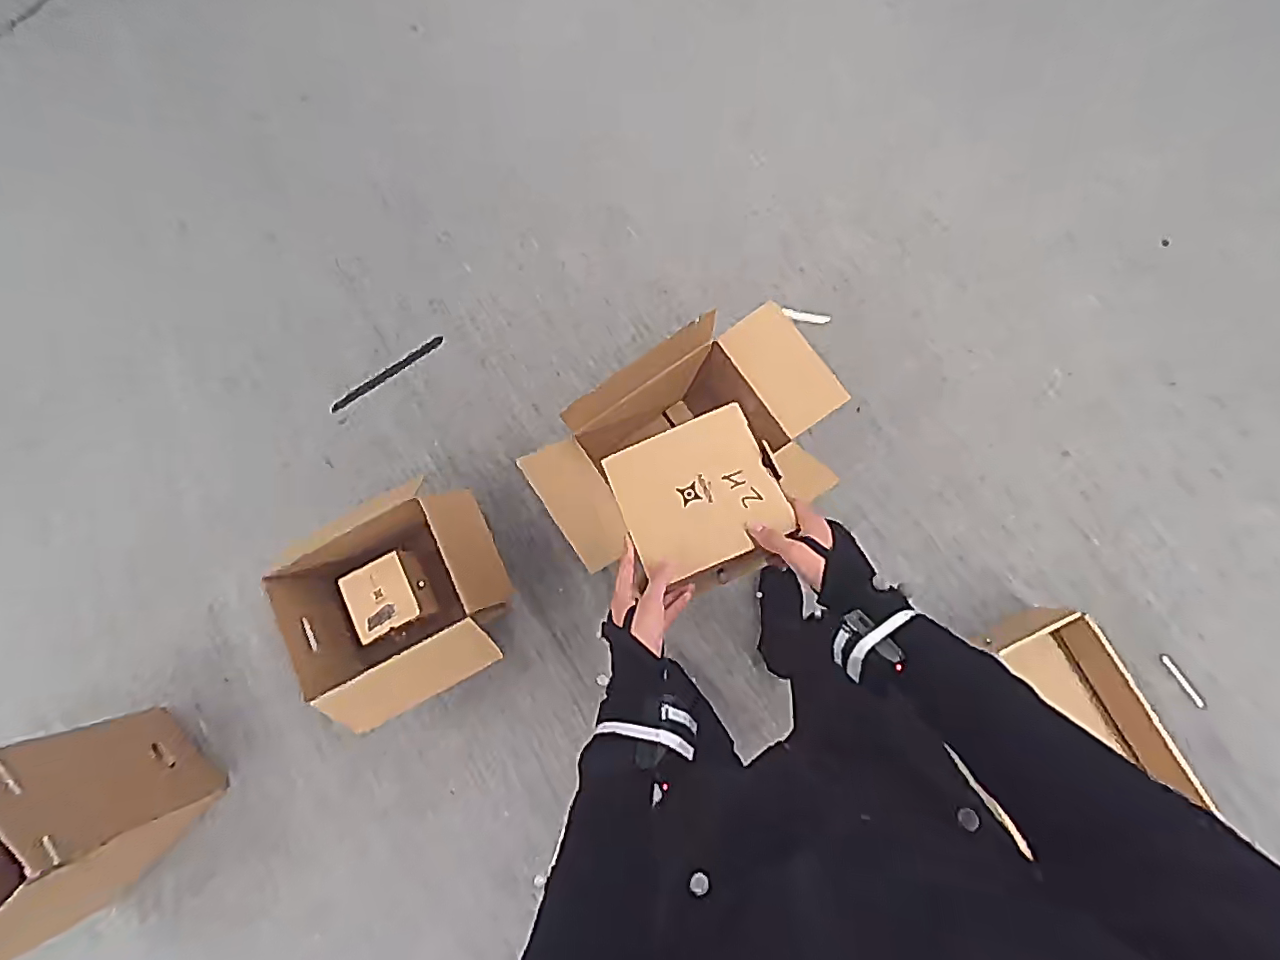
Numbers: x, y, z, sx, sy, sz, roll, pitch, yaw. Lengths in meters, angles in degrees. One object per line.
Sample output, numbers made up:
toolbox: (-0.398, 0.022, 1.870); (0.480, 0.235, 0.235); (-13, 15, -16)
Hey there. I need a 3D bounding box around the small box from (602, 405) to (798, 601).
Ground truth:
small box: (0.074, 0.041, 0.675); (0.179, 0.176, 0.168); (-23, 70, 0)
